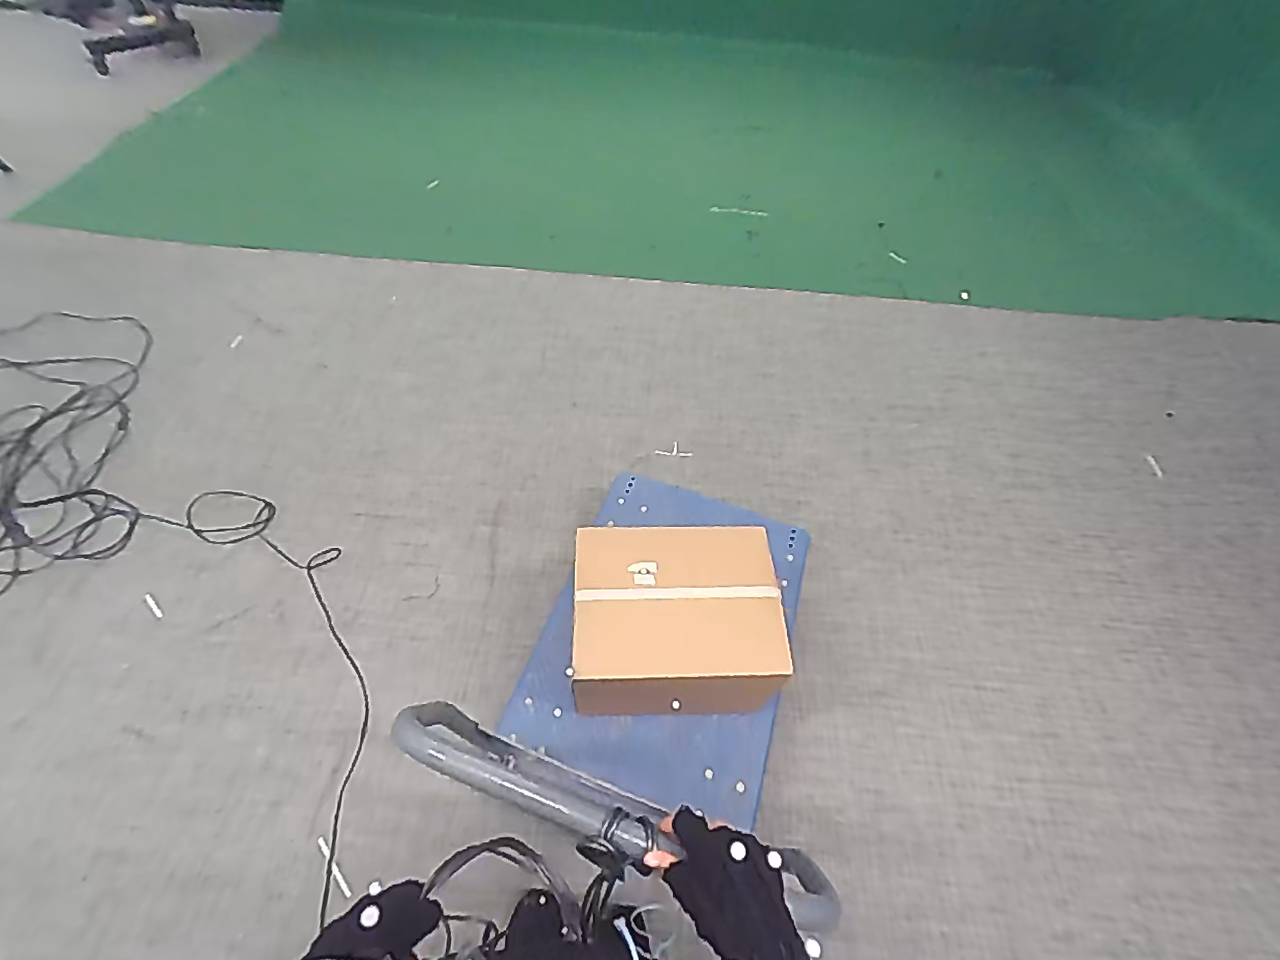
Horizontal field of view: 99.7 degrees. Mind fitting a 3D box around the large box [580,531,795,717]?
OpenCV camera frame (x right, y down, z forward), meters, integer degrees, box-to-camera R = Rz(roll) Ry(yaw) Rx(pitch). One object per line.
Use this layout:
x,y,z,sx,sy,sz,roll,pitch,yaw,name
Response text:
0.078,0.324,1.190,0.408,0.320,0.320,-1,54,-3,large box
